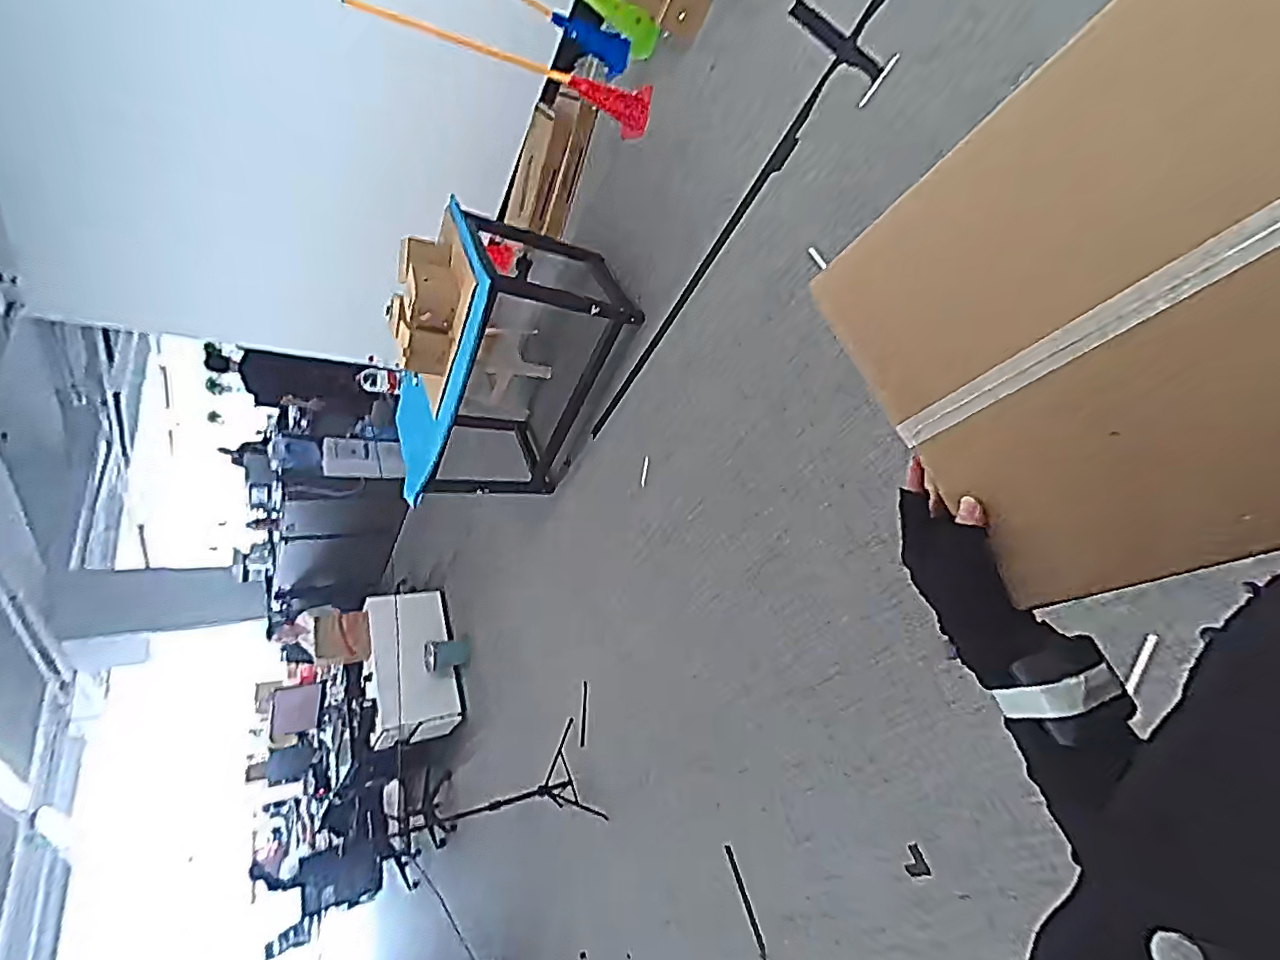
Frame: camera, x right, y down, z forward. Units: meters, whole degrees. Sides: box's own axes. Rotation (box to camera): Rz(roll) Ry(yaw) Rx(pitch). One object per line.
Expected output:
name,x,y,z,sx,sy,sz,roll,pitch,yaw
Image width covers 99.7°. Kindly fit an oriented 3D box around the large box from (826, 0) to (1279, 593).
large box,0.438,-0.160,0.403,0.408,0.320,0.320,-40,73,47
